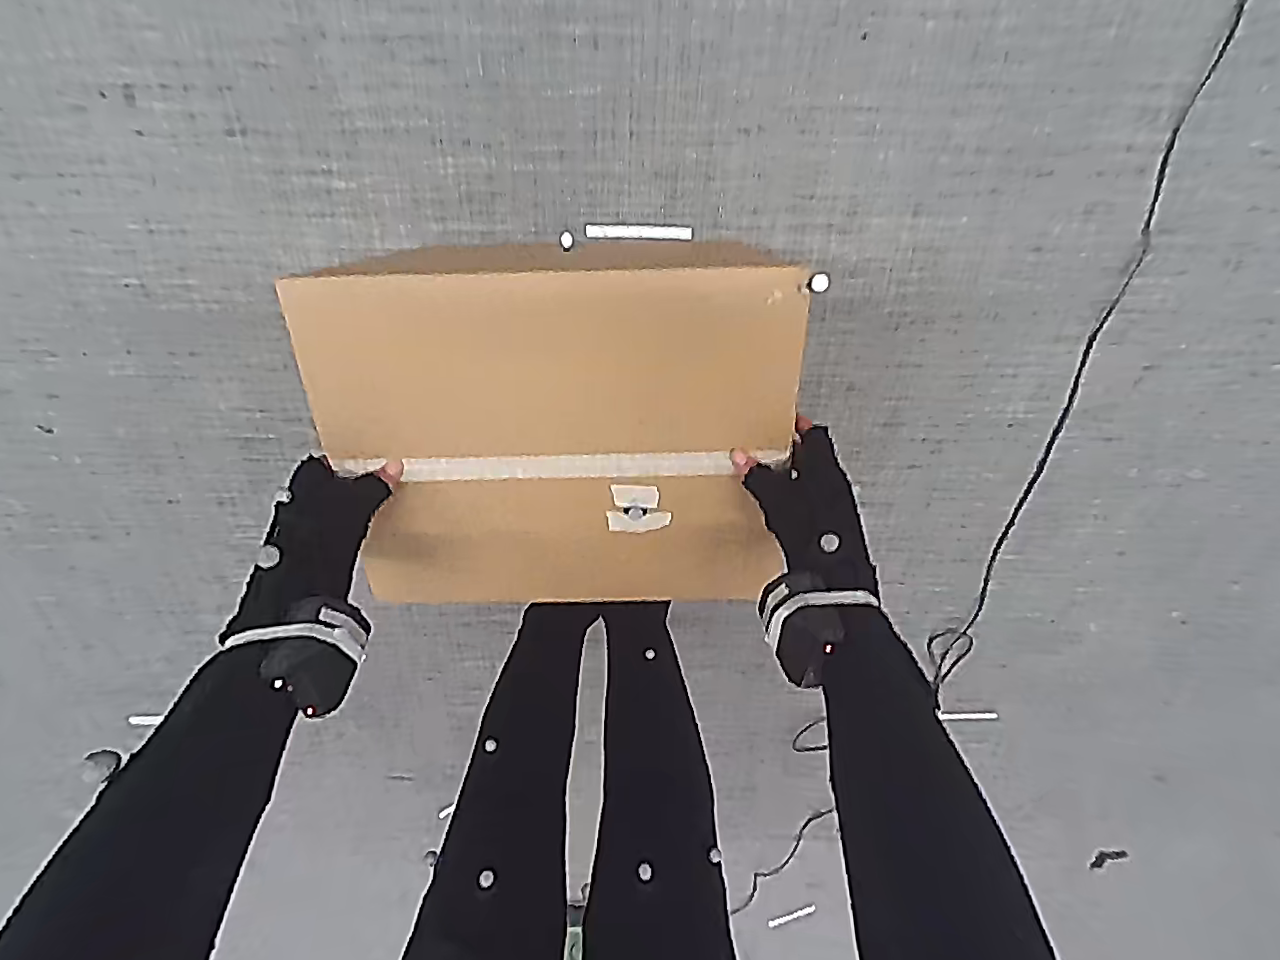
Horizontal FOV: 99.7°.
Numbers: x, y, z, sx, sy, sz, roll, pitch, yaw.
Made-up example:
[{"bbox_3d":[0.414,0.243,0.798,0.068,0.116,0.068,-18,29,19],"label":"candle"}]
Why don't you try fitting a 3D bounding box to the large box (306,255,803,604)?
[{"bbox_3d":[-0.067,-0.080,0.624,0.408,0.320,0.320,-1,117,0],"label":"large box"}]
